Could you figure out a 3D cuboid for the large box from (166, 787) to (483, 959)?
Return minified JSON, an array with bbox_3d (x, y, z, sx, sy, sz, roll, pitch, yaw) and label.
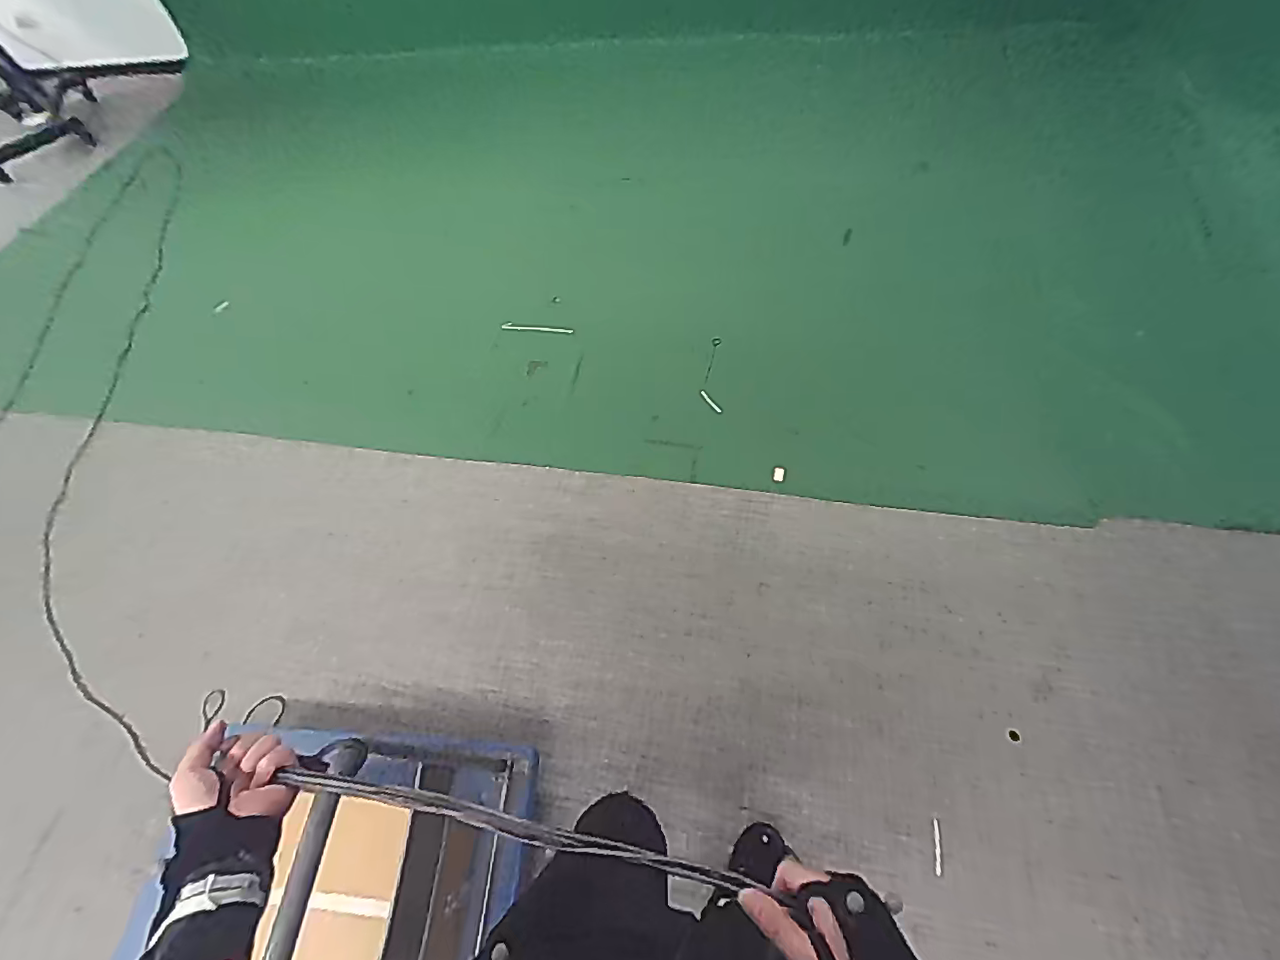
[{"bbox_3d":[-0.573,0.788,1.056,0.408,0.320,0.320,-1,60,9],"label":"large box"}]
